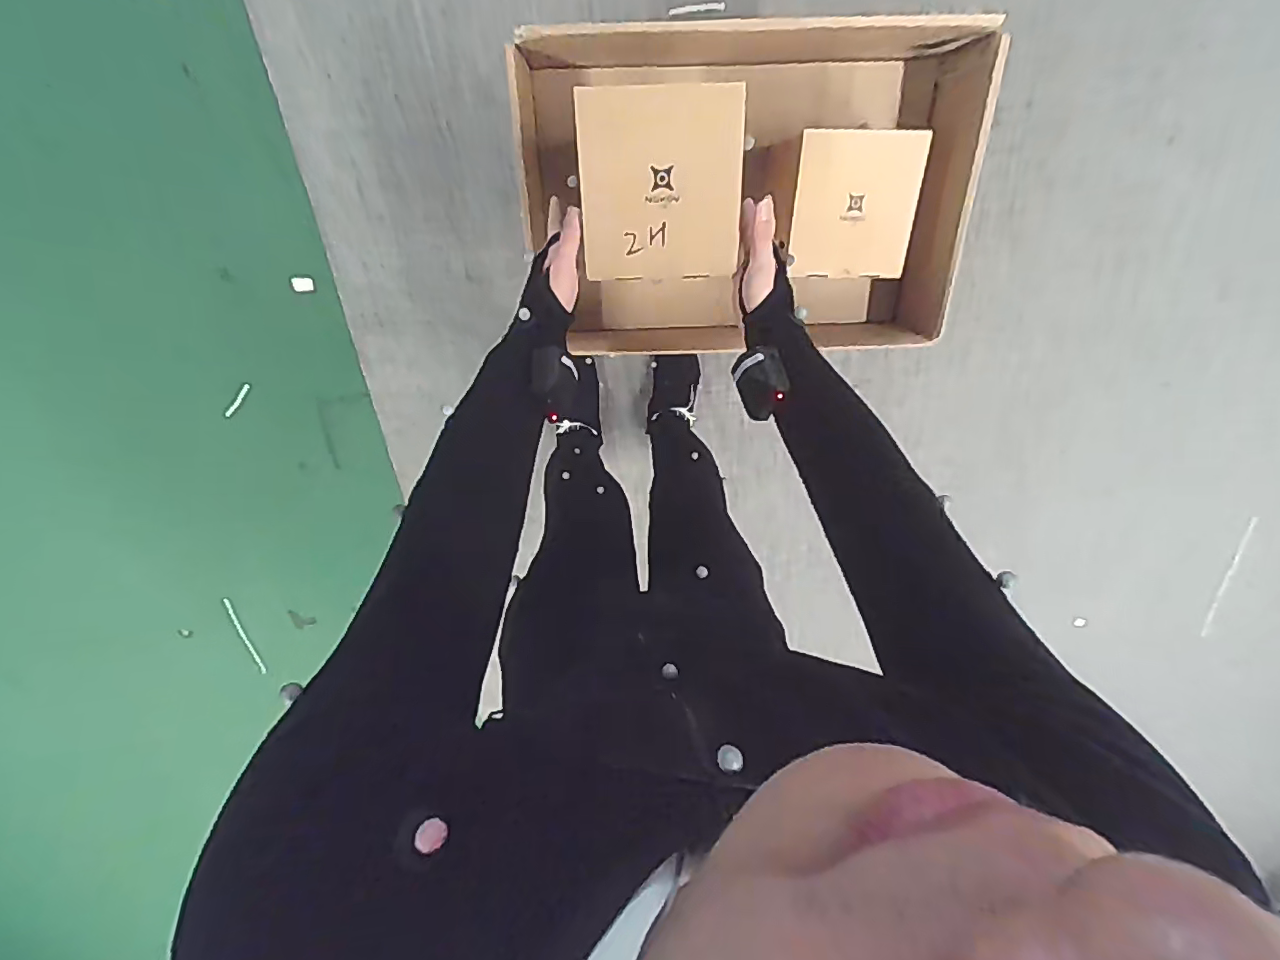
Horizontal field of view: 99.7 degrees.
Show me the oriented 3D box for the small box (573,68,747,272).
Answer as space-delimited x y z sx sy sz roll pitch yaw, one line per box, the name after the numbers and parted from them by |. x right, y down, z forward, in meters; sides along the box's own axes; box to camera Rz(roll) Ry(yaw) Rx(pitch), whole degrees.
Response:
0.016 -0.333 0.604 0.168 0.176 0.179 -2 117 0 | small box
